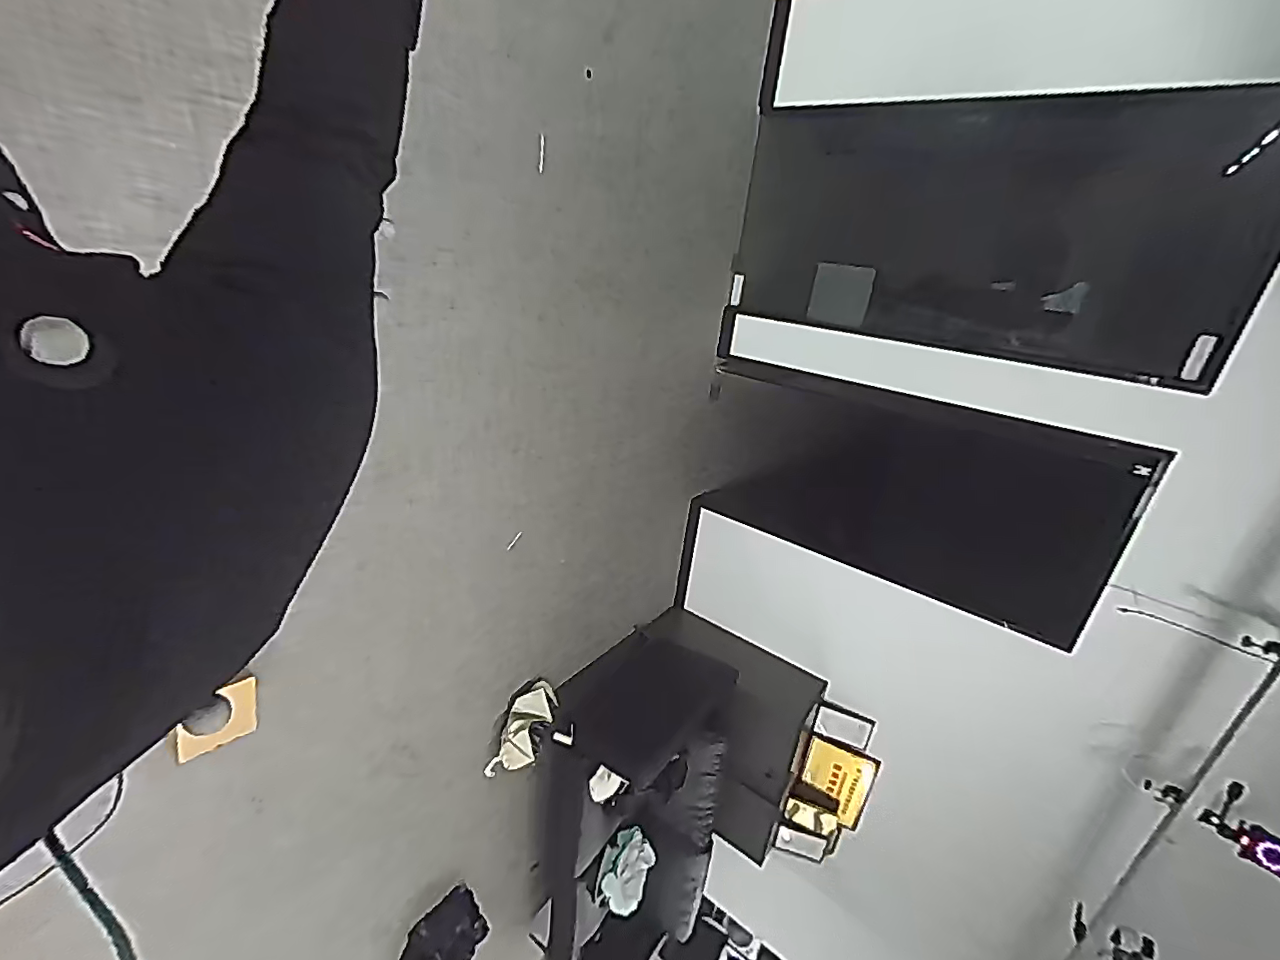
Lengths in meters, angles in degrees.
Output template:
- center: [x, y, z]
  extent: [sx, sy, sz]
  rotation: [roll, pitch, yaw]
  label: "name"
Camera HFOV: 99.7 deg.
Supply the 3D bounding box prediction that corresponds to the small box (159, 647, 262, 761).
- center: [-1.094, 0.562, 1.381]
  extent: [0.168, 0.176, 0.179]
  rotation: [-13, 120, -54]
  label: "small box"
